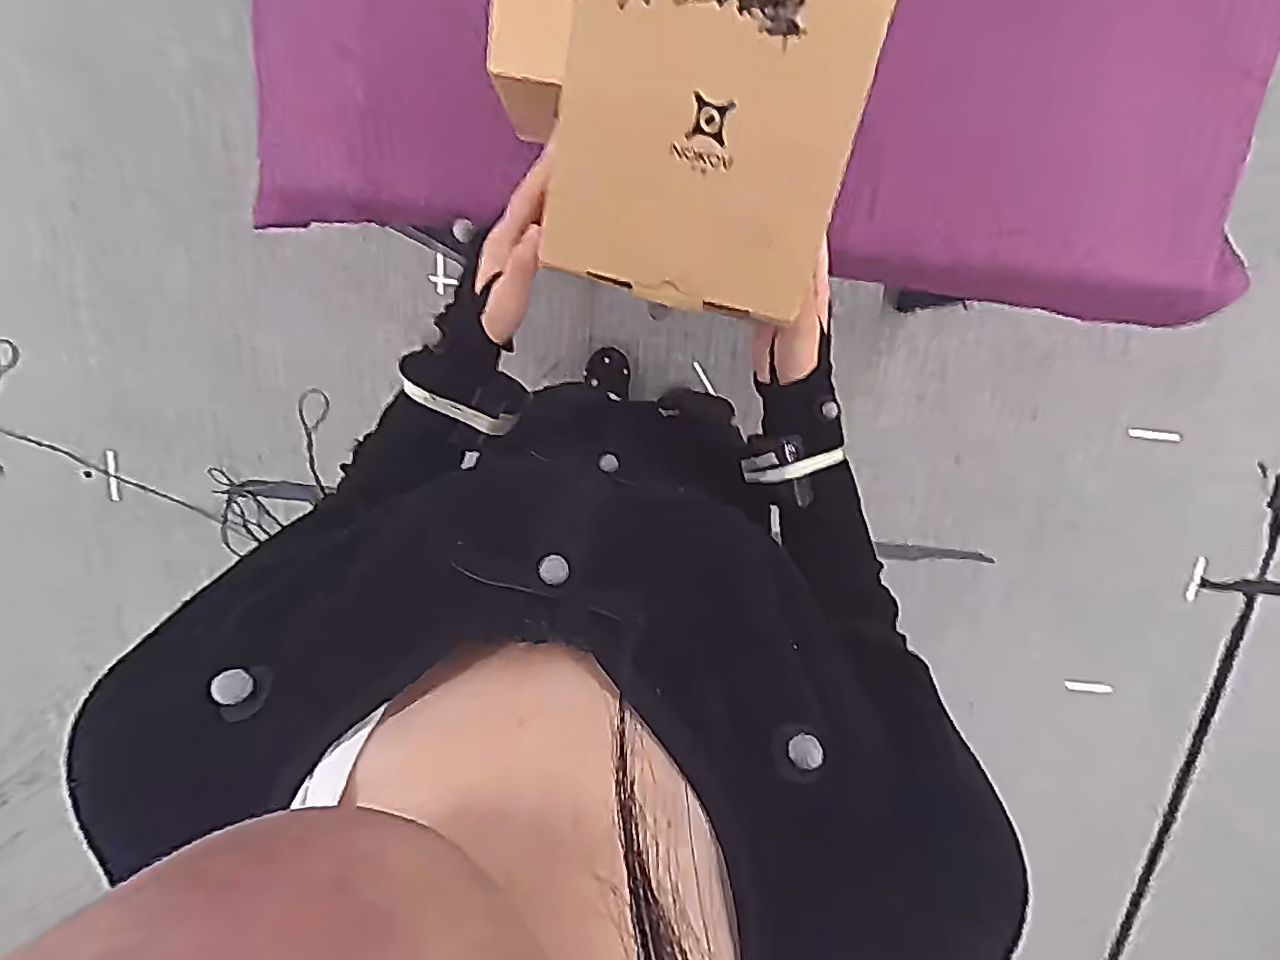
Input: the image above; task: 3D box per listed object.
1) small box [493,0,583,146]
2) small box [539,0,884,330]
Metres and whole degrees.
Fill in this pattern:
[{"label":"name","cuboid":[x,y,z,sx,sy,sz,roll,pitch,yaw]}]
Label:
[{"label":"small box","cuboid":[-0.050,-0.468,0.575,0.168,0.176,0.179,6,102,-4]},{"label":"small box","cuboid":[0.037,-0.219,0.390,0.168,0.176,0.179,13,108,-4]}]
